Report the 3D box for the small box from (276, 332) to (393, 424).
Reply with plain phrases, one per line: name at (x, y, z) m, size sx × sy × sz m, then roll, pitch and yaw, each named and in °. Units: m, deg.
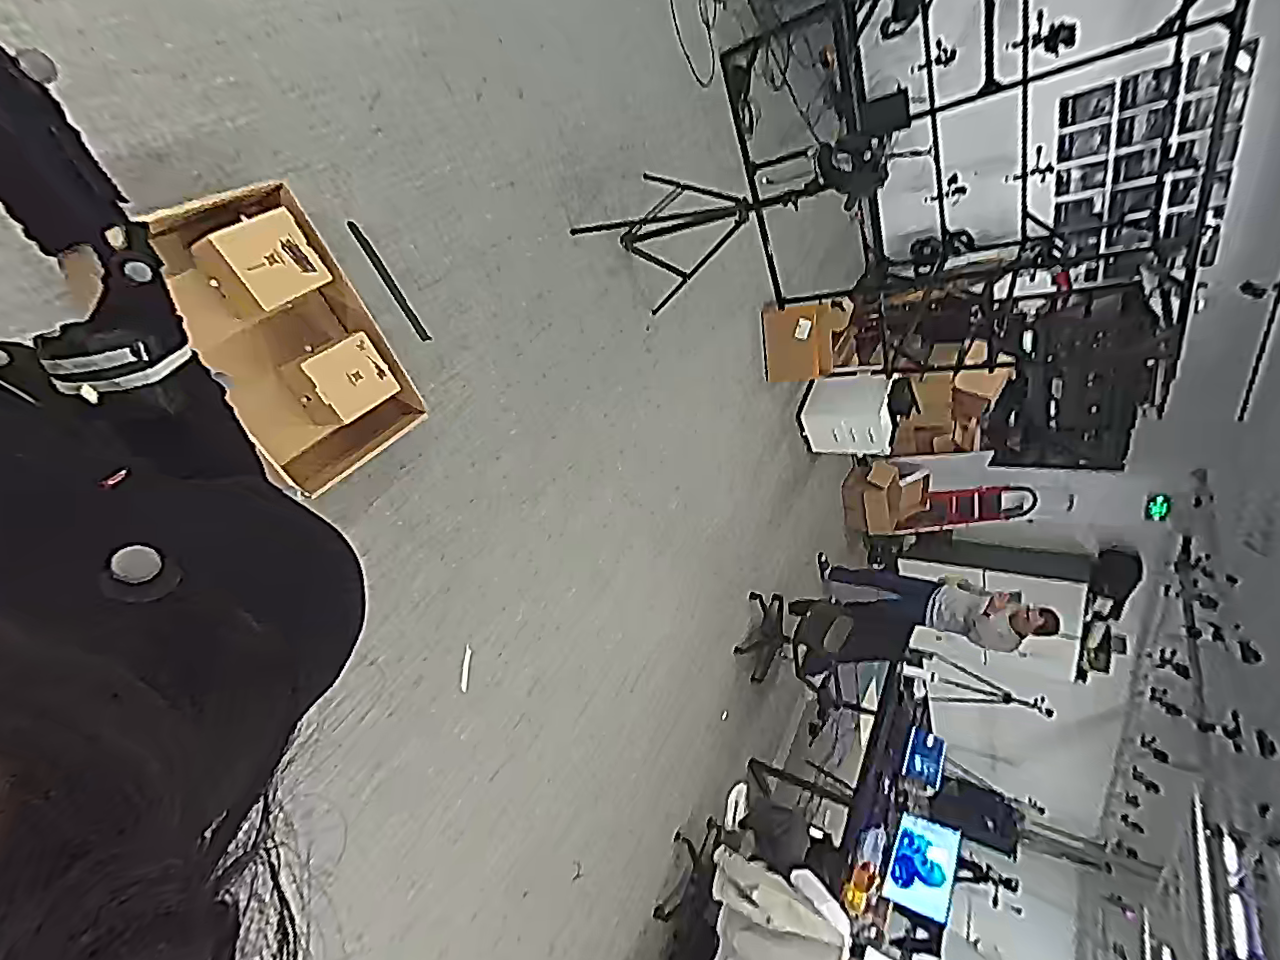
small box at (-0.764, -0.249, 1.342) m, size 0.179 × 0.176 × 0.168 m, roll -48°, pitch 129°, yaw -37°
